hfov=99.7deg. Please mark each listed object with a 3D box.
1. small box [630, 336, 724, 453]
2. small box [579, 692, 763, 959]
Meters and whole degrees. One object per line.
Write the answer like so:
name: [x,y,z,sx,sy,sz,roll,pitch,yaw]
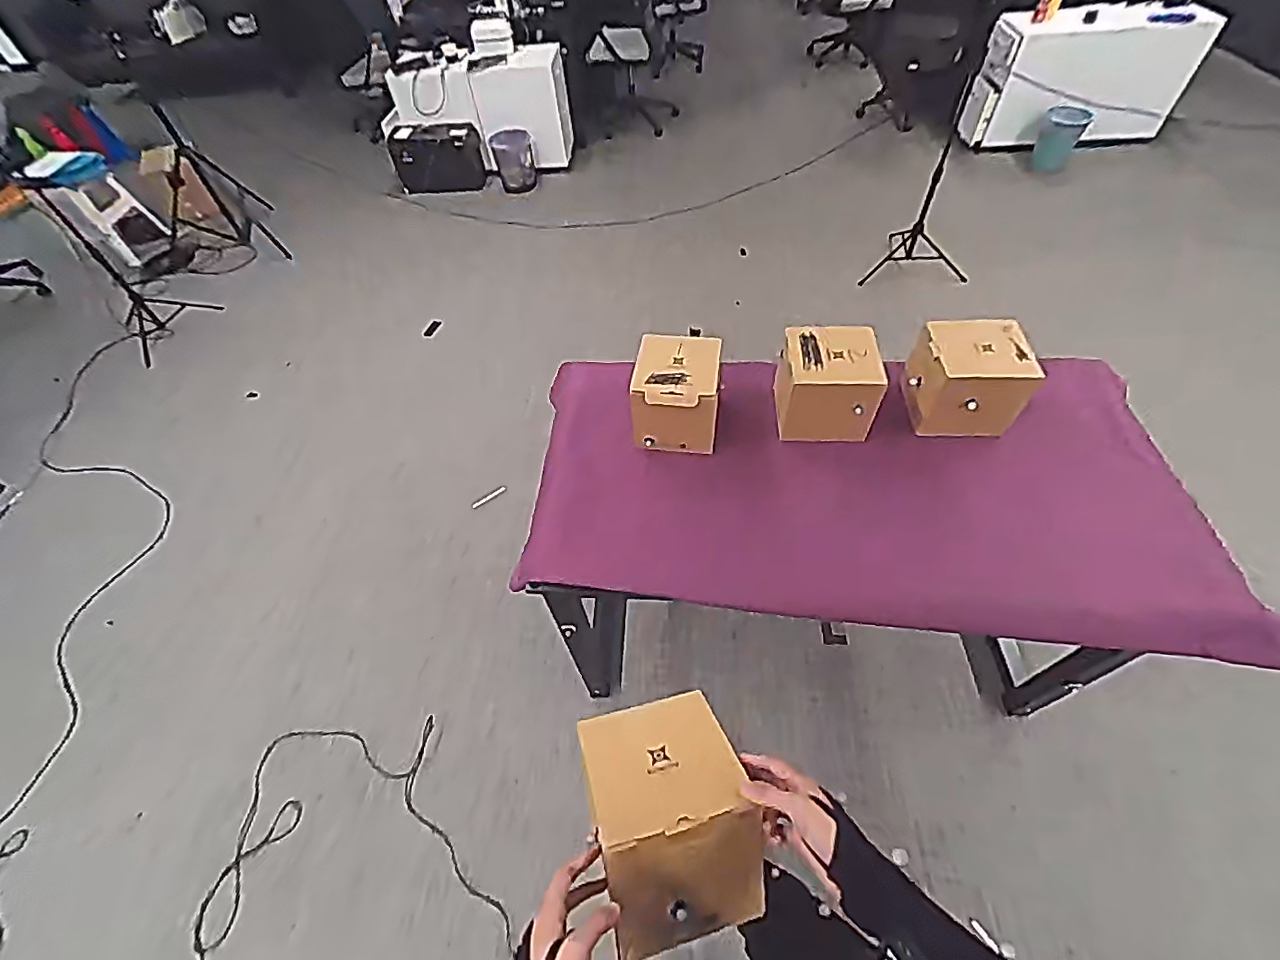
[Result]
small box: [0.081,-0.174,1.120,0.168,0.176,0.179,6,54,8]
small box: [0.029,0.387,0.628,0.168,0.176,0.179,-10,20,-13]
